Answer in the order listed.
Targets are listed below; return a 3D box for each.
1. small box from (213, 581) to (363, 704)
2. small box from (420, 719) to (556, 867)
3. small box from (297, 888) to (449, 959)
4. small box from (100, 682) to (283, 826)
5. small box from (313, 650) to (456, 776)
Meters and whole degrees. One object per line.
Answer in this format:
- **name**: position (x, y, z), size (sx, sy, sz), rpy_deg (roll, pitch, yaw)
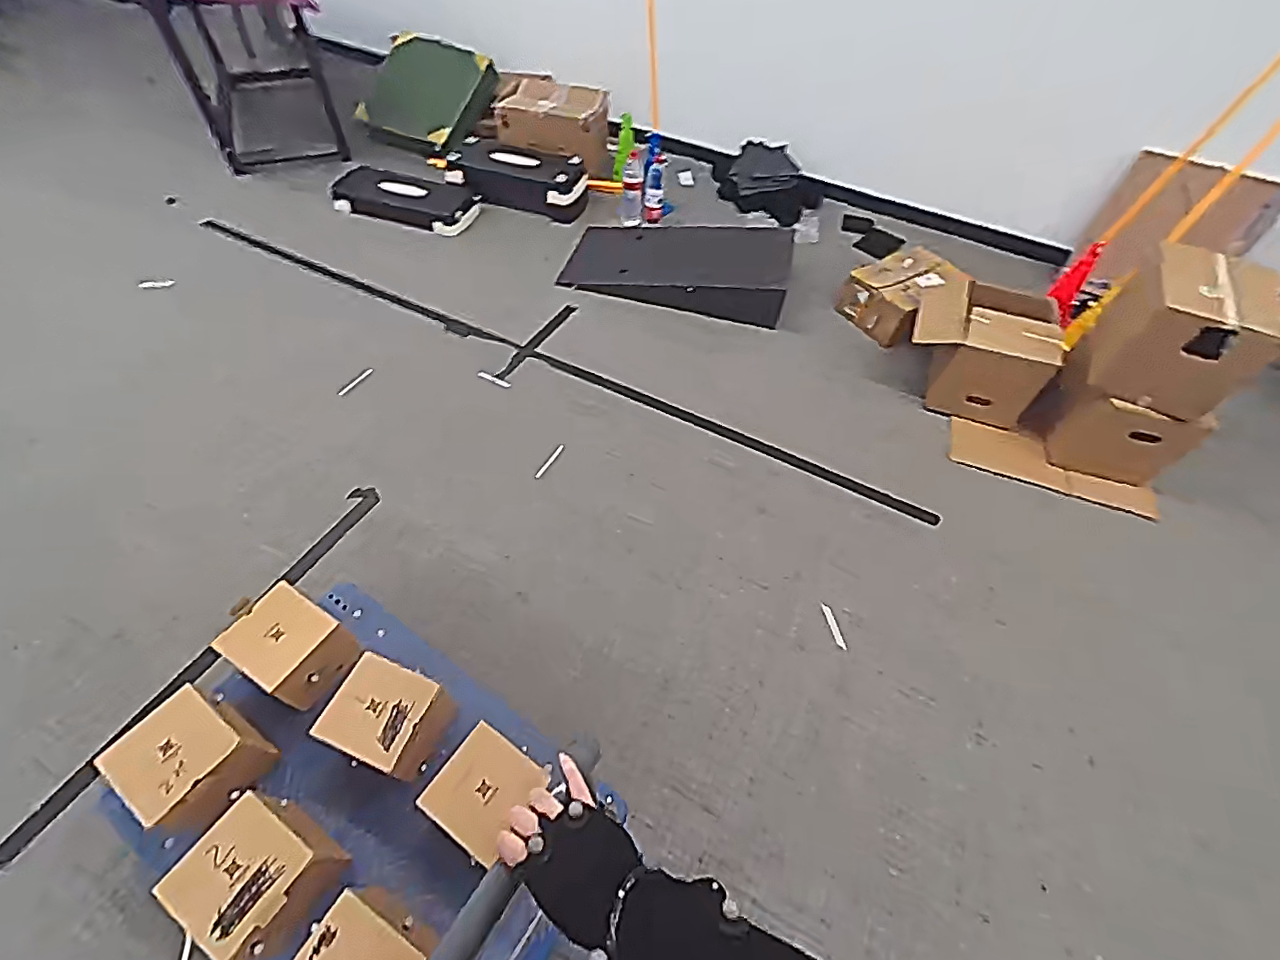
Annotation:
- **small box**: position (-0.730, 0.351, 1.146), size (0.179, 0.176, 0.168), rpy_deg (28, 57, 14)
- **small box**: position (-0.273, 0.587, 1.018), size (0.179, 0.176, 0.168), rpy_deg (31, 57, 16)
- **small box**: position (-0.433, 0.784, 0.861), size (0.179, 0.176, 0.168), rpy_deg (27, 56, 14)
- **small box**: position (-0.827, 0.520, 1.015), size (0.179, 0.176, 0.168), rpy_deg (32, 58, 16)
- **small box**: position (-0.495, 0.471, 1.081), size (0.179, 0.176, 0.168), rpy_deg (20, 55, 10)
